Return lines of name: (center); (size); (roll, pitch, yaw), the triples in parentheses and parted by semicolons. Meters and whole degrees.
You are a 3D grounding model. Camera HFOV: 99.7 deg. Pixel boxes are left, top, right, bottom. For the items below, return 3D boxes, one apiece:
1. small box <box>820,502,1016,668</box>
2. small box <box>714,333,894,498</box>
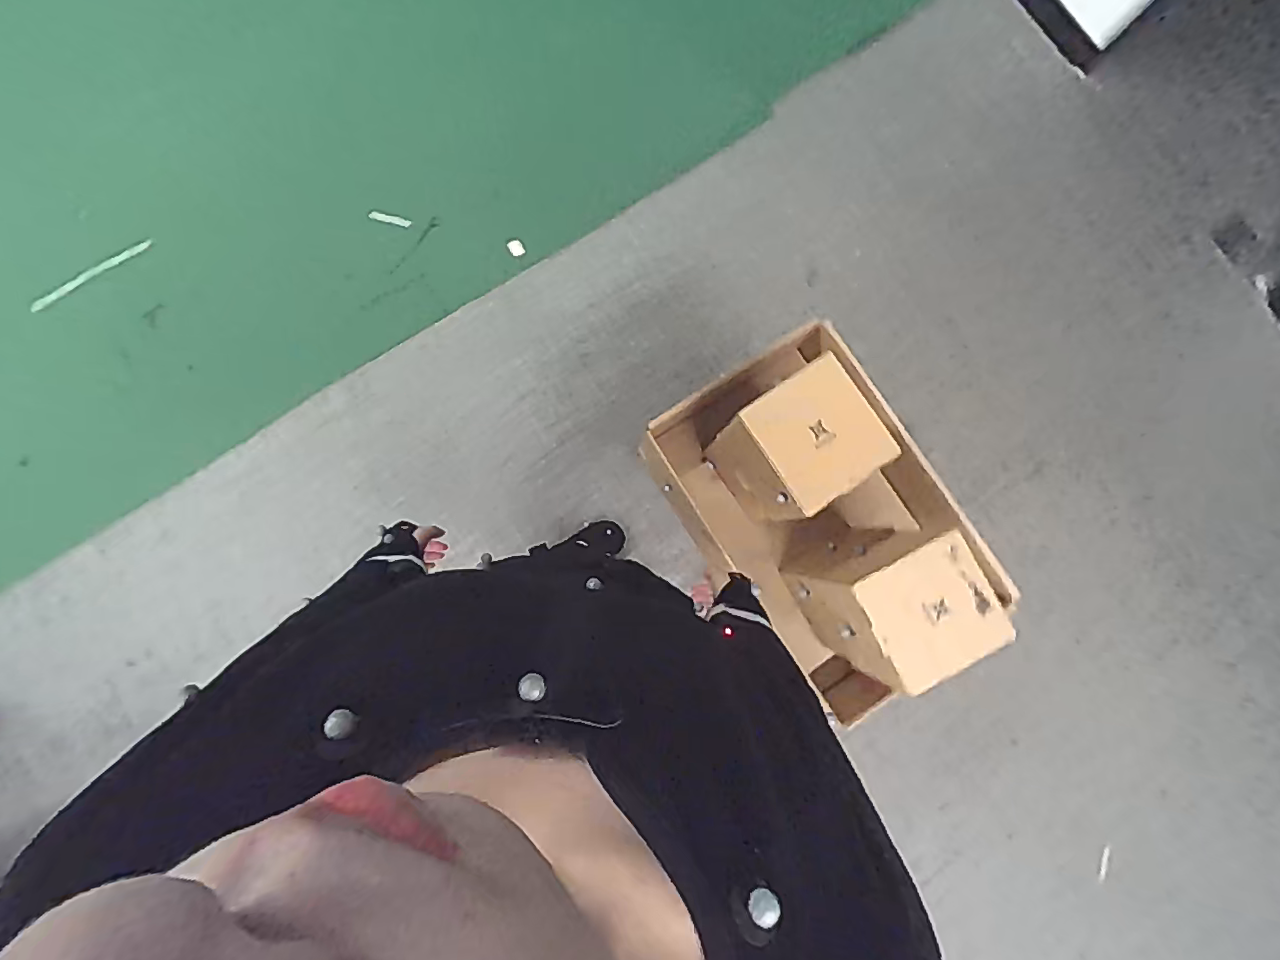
small box: (0.394, 0.149, 0.808); (0.179, 0.176, 0.168); (-30, 86, -3)
small box: (0.235, -0.085, 0.828); (0.168, 0.176, 0.179); (-37, 88, -4)
